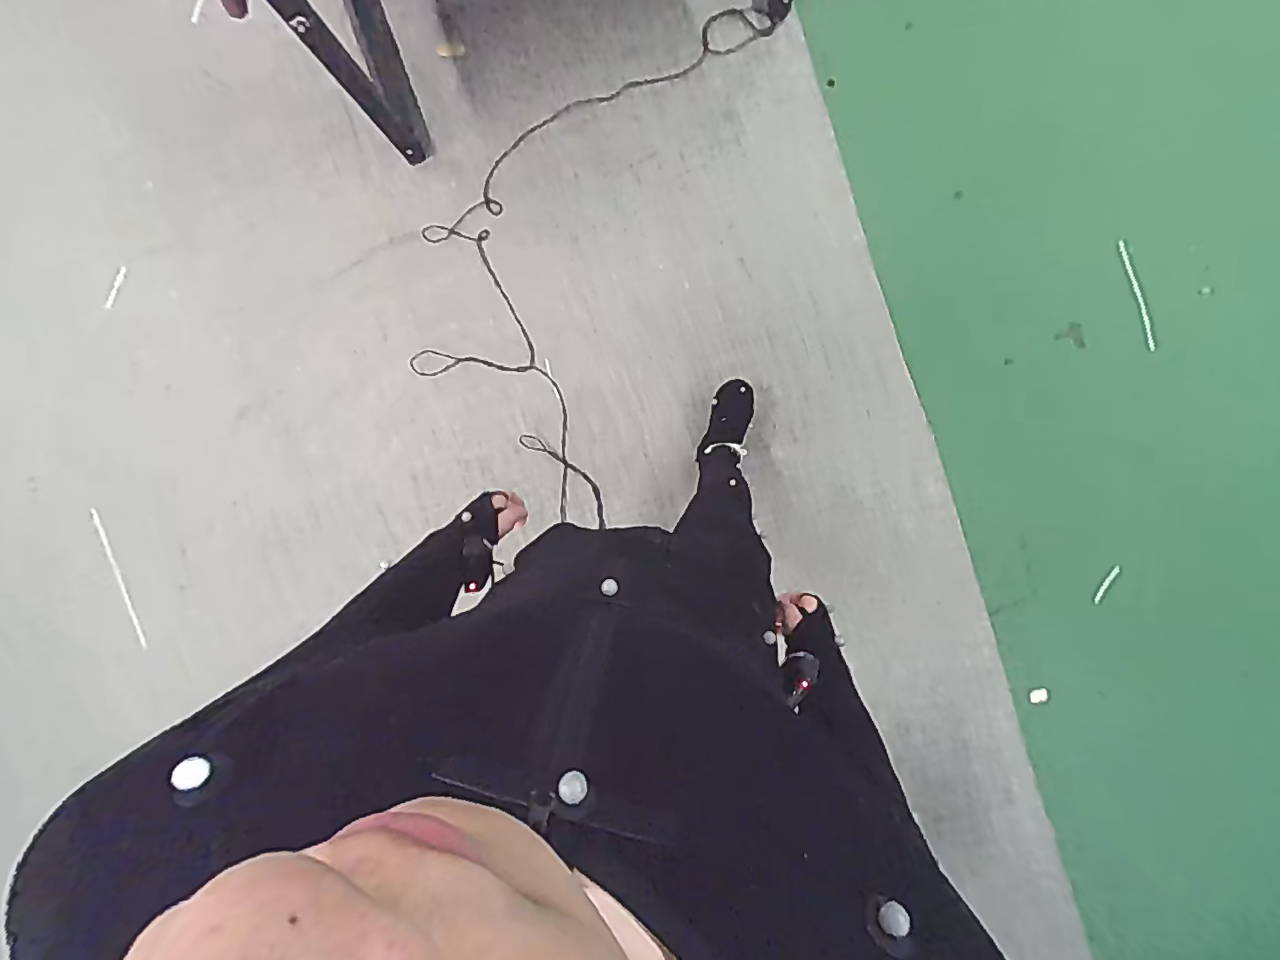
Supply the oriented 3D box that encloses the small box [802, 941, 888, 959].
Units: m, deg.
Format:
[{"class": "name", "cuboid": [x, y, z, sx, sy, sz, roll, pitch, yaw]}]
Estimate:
[{"class": "small box", "cuboid": [0.410, 1.005, 0.987, 0.168, 0.176, 0.179, -13, 92, 4]}]
